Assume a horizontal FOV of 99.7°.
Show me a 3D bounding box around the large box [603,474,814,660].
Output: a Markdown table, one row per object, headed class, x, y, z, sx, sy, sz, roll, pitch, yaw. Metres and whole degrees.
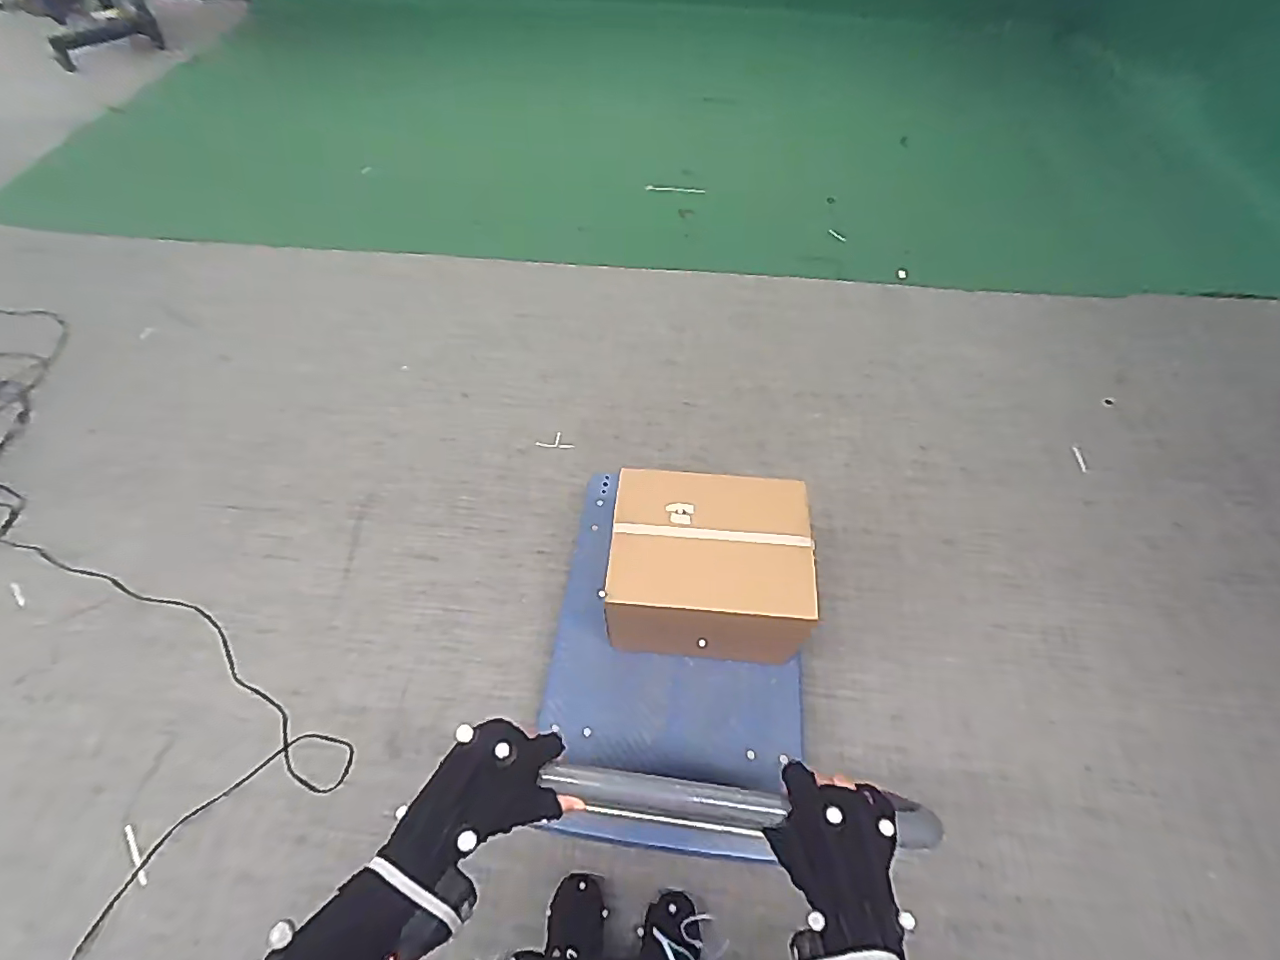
| class | x | y | z | sx | sy | sz | roll | pitch | yaw |
| --- | --- | --- | --- | --- | --- | --- | --- | --- | --- |
| large box | 0.143 | 0.203 | 1.220 | 0.408 | 0.320 | 0.320 | 4 | 56 | 4 |
